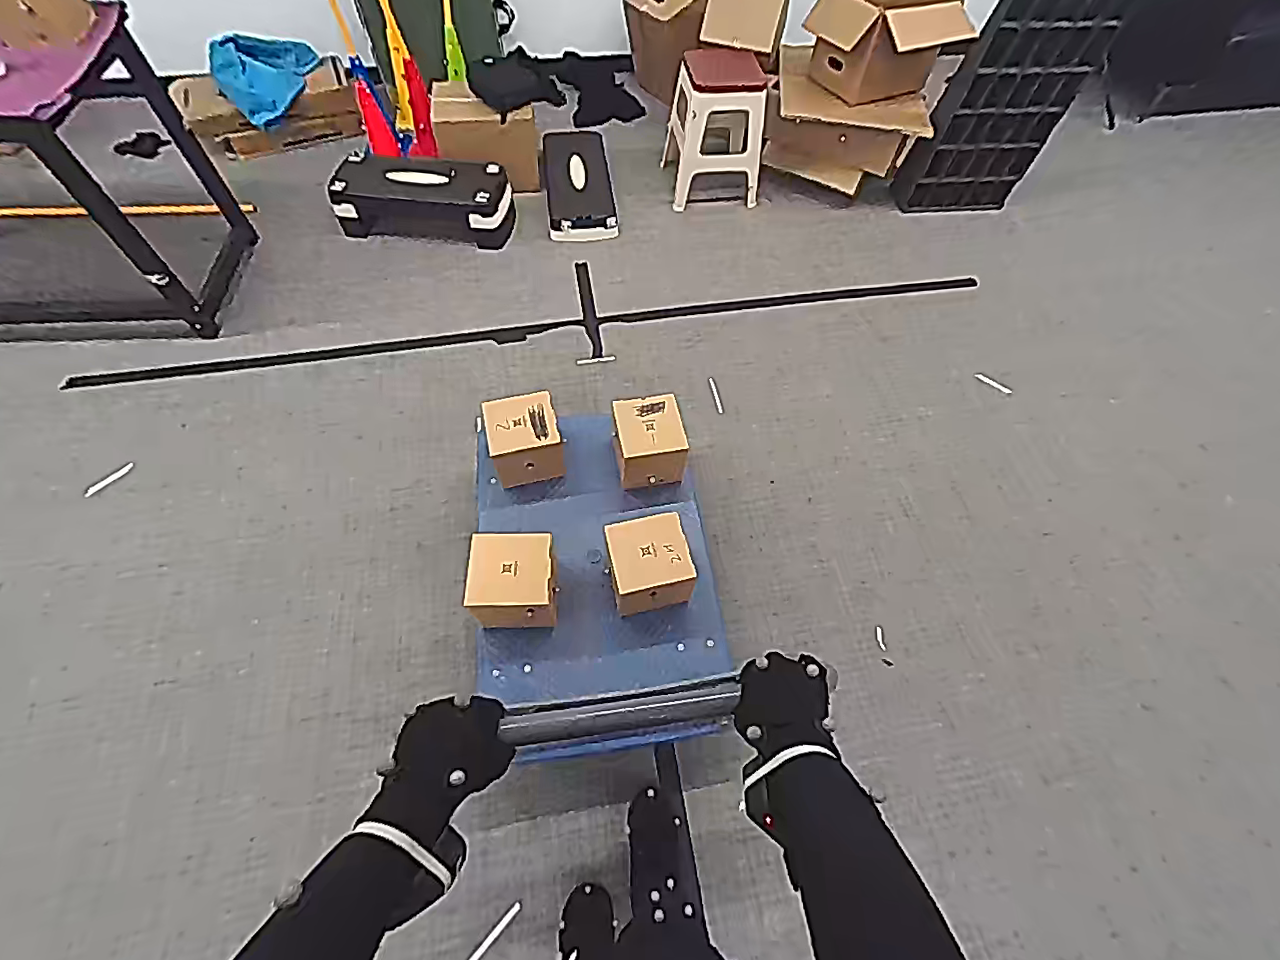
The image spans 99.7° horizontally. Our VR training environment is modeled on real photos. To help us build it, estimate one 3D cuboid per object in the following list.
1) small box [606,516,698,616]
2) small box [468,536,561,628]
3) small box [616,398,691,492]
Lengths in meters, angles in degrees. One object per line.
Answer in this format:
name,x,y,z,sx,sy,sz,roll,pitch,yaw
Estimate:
small box,0.023,0.205,1.265,0.179,0.176,0.168,-11,62,-9
small box,-0.278,0.237,1.233,0.179,0.176,0.168,0,60,-4
small box,0.029,-0.090,1.433,0.168,0.176,0.179,-9,62,-7
